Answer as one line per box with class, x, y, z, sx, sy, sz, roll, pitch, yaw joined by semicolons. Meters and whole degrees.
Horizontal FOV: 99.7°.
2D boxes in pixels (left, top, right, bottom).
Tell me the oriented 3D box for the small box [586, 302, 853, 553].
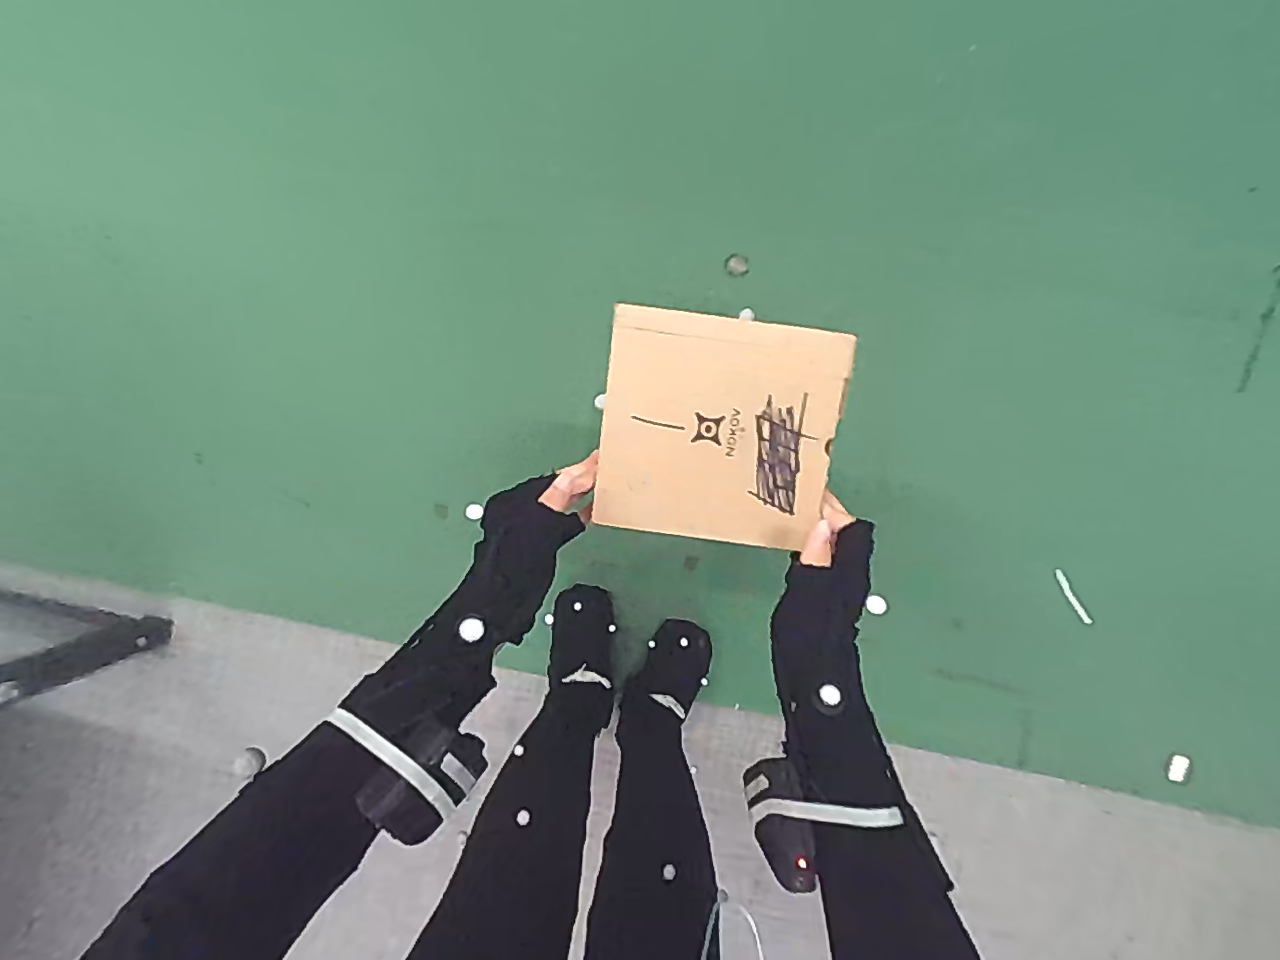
small box;0.058;-0.048;0.487;0.179;0.176;0.168;11;98;-1
